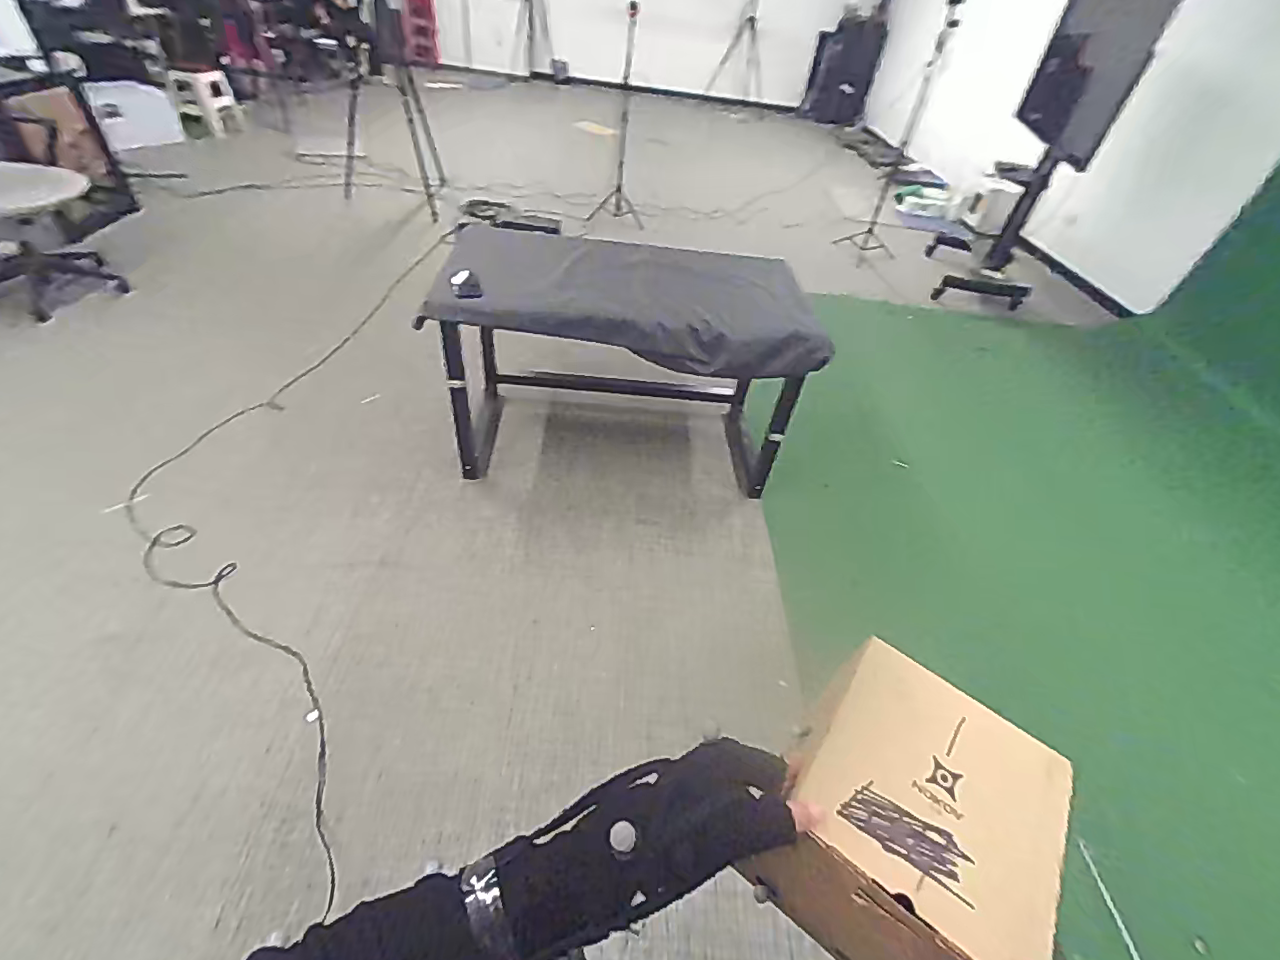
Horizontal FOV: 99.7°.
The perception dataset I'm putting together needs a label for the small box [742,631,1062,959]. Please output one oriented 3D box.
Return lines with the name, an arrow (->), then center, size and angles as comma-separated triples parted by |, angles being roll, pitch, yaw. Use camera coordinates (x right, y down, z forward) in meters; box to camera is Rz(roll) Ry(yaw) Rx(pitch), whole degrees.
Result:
small box -> 0.203, 0.272, 0.452 | 0.168, 0.176, 0.179 | 32, 48, 20
